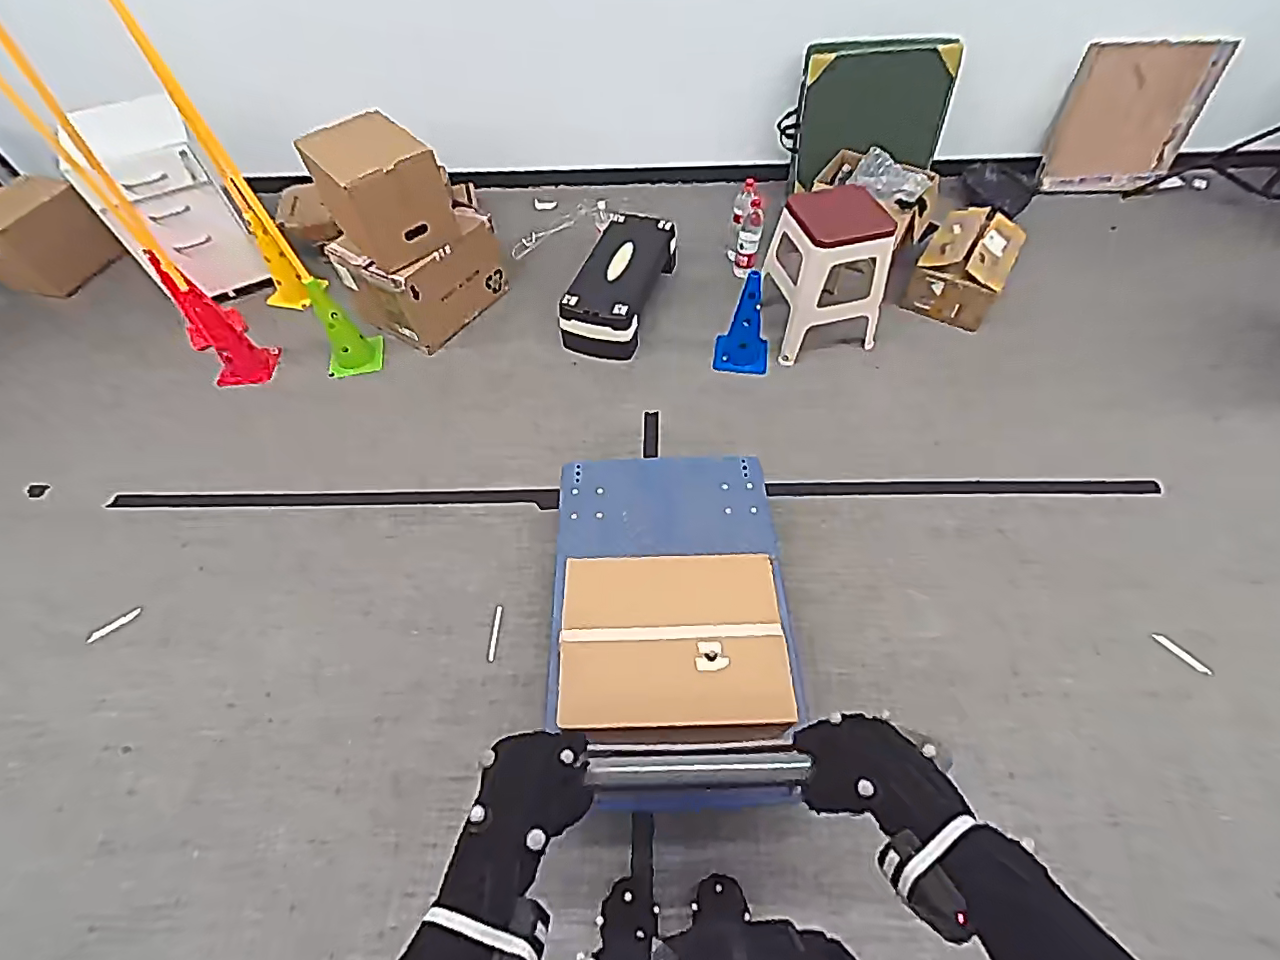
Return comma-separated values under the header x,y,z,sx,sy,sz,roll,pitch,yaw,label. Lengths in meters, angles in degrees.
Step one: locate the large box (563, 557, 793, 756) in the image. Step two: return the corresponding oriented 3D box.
x,y,z,sx,sy,sz,roll,pitch,yaw,label
0.058,0.373,1.124,0.408,0.320,0.320,-1,55,-1,large box
